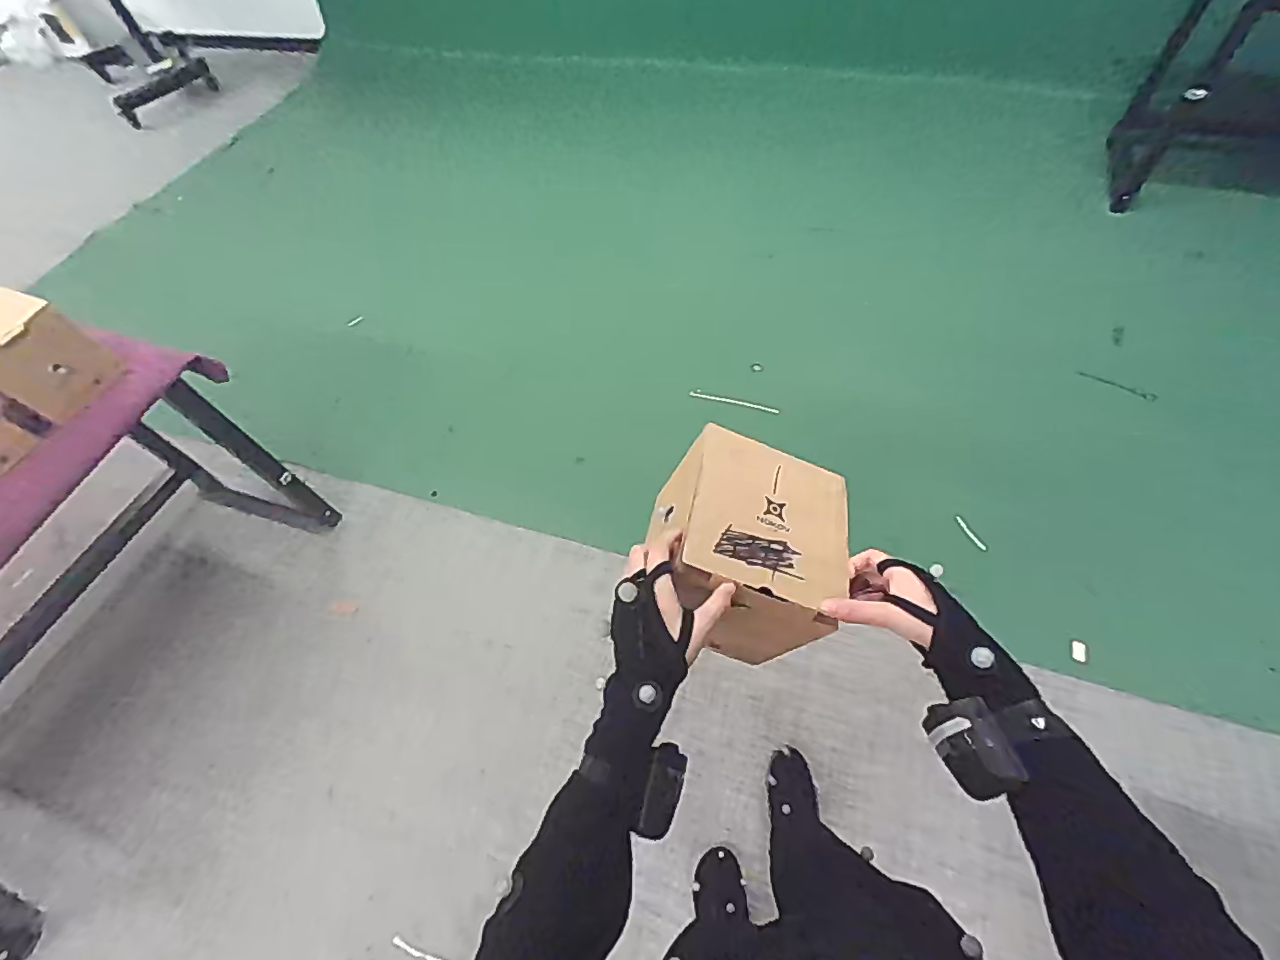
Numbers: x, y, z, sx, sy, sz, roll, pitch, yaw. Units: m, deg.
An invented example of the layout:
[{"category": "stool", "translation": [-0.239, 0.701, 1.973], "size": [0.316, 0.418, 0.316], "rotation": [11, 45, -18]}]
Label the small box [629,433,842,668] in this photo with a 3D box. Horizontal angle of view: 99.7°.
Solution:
[{"category": "small box", "translation": [0.098, 0.086, 0.590], "size": [0.168, 0.176, 0.179], "rotation": [21, 55, -7]}]
